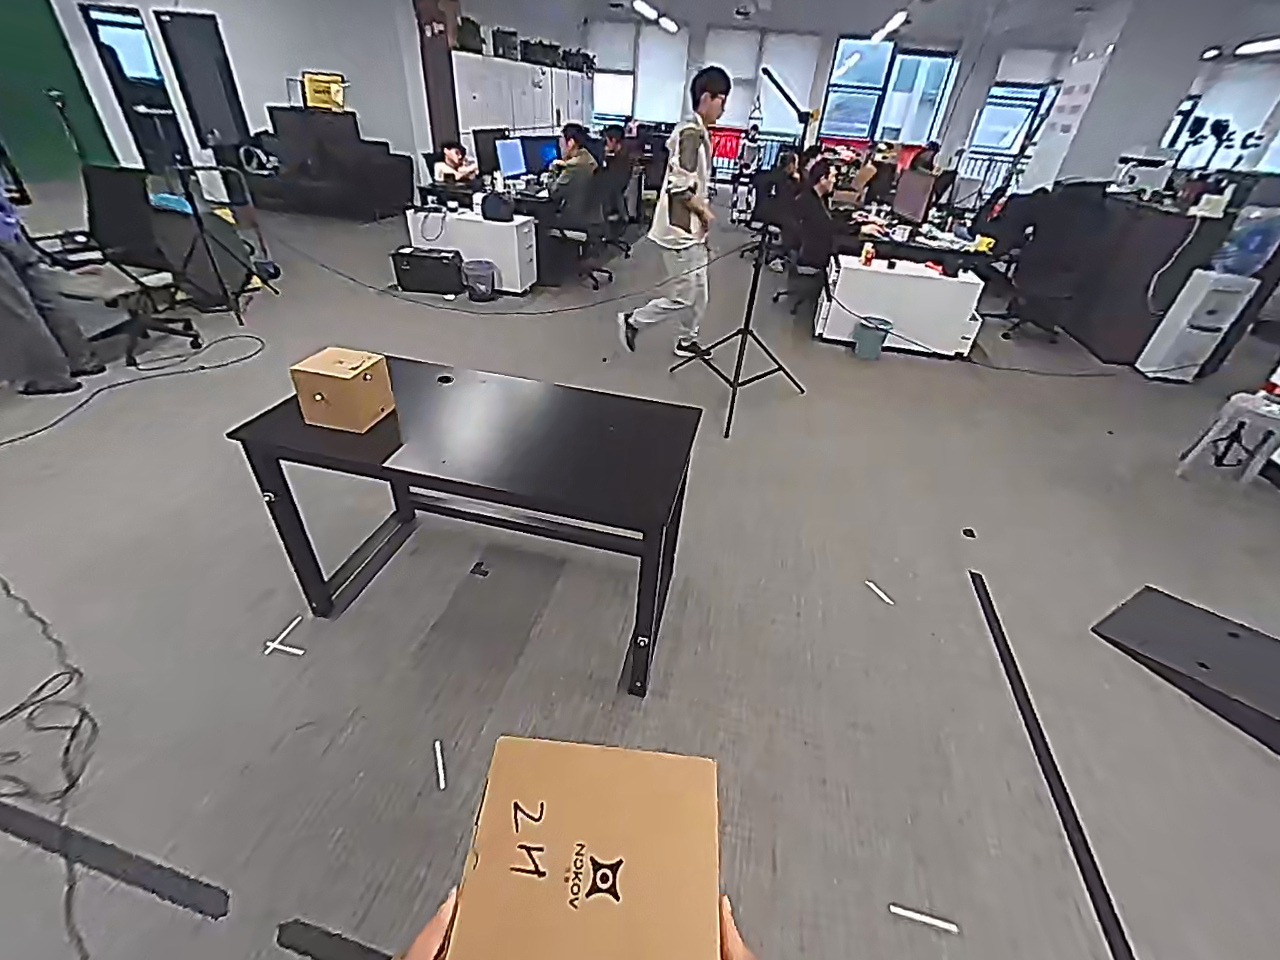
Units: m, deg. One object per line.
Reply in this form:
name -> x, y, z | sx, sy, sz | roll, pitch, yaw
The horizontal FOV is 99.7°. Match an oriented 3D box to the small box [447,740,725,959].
small box -> -0.036, 0.325, 0.425 | 0.179, 0.176, 0.168 | 5, 46, 0

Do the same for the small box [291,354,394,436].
small box -> -0.826, -0.240, 1.521 | 0.179, 0.176, 0.168 | 9, 35, 7
